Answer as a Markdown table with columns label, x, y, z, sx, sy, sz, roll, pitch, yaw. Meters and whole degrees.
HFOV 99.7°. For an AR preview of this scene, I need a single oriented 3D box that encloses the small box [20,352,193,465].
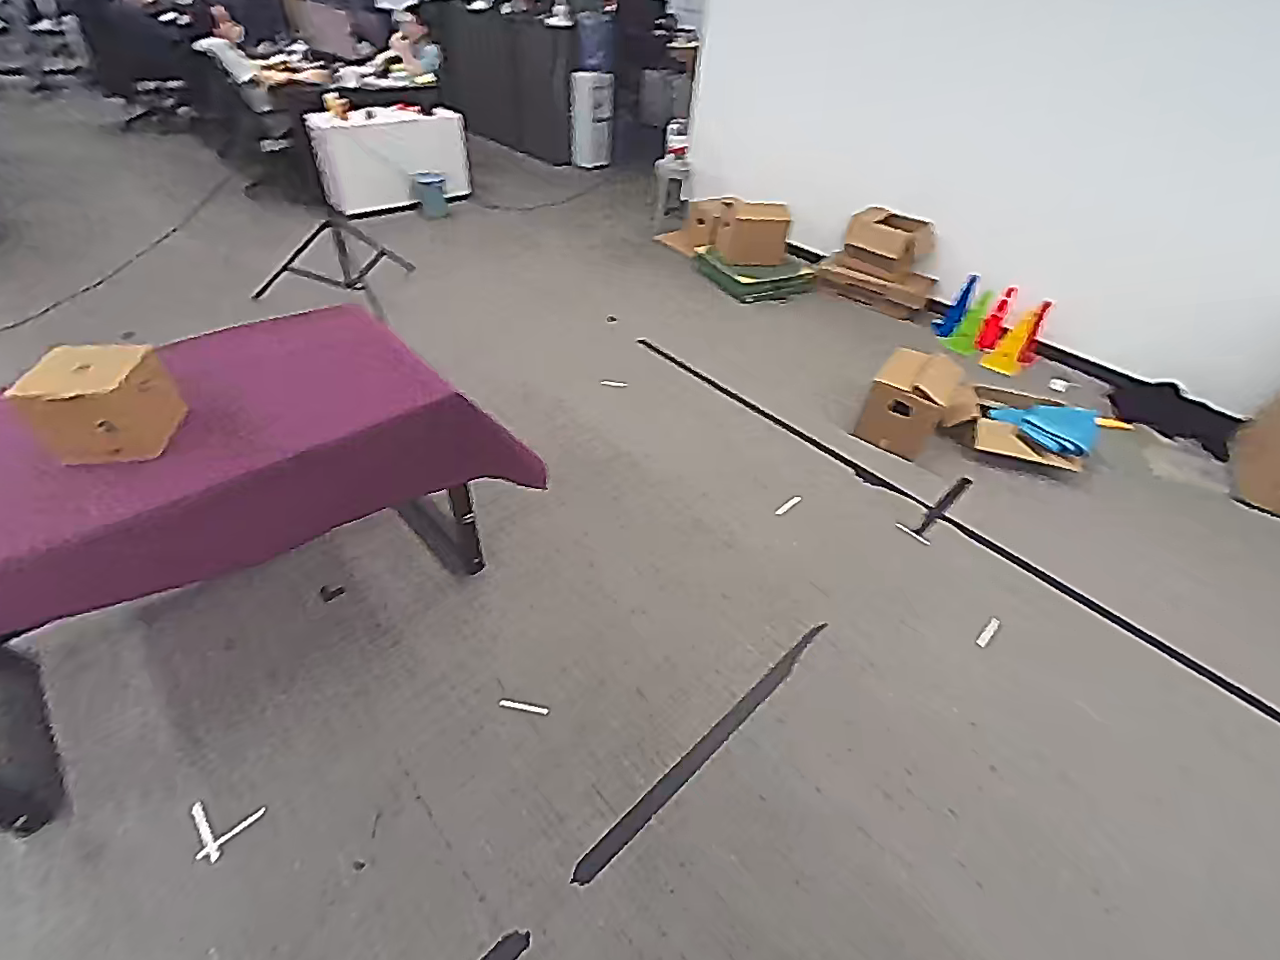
| label | x | y | z | sx | sy | sz | roll | pitch | yaw |
| --- | --- | --- | --- | --- | --- | --- | --- | --- | --- |
| small box | -1.064 | -0.142 | 1.102 | 0.168 | 0.176 | 0.179 | -5 | 43 | -12 |
